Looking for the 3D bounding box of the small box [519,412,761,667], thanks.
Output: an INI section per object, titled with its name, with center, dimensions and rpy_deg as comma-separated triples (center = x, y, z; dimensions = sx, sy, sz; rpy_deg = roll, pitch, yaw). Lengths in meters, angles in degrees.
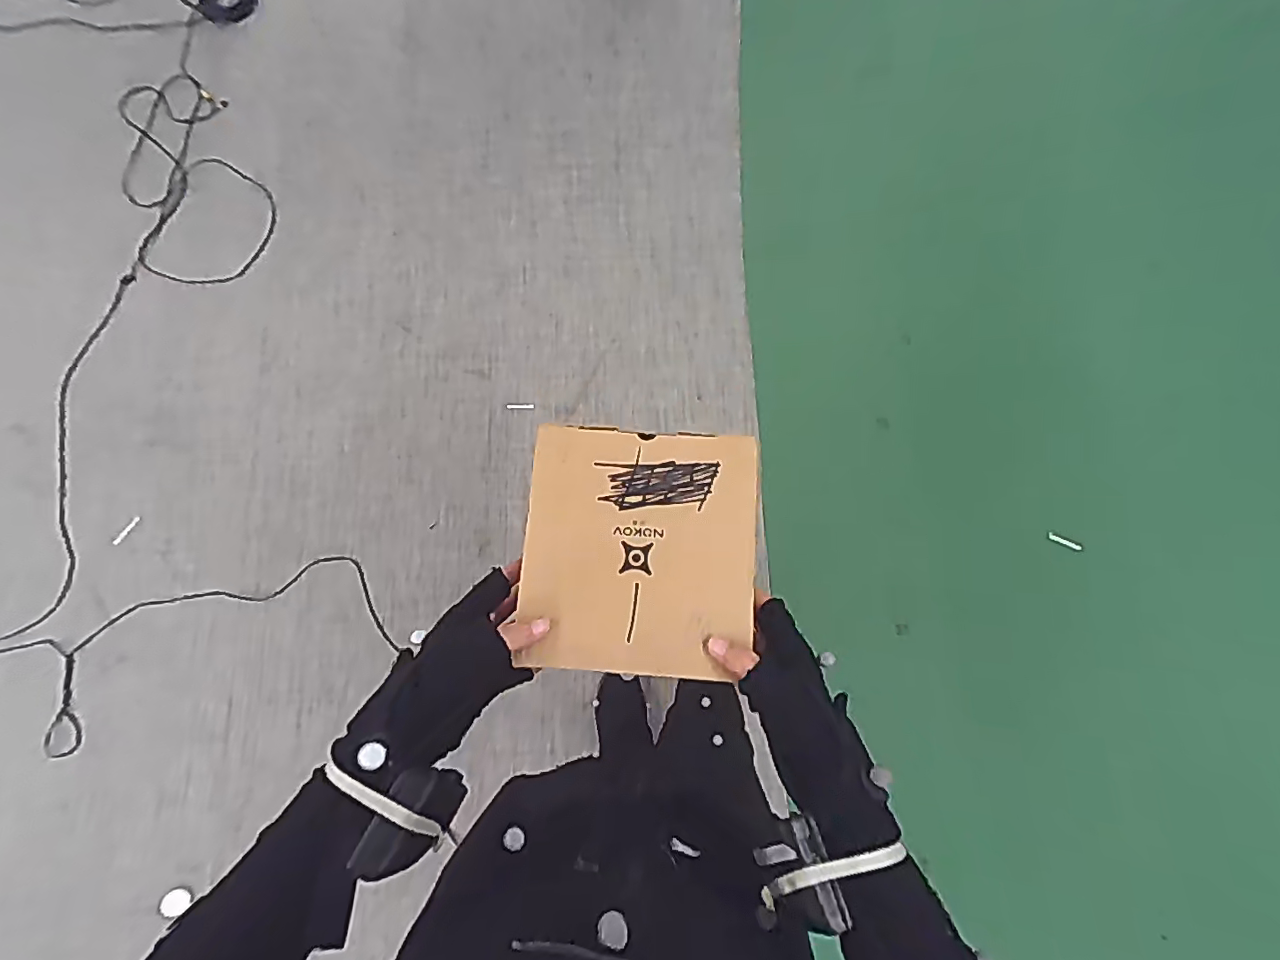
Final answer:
[small box]
center = 0.005, 0.057, 0.468
dimensions = 0.168, 0.176, 0.179
rpy_deg = 4, 77, 2
